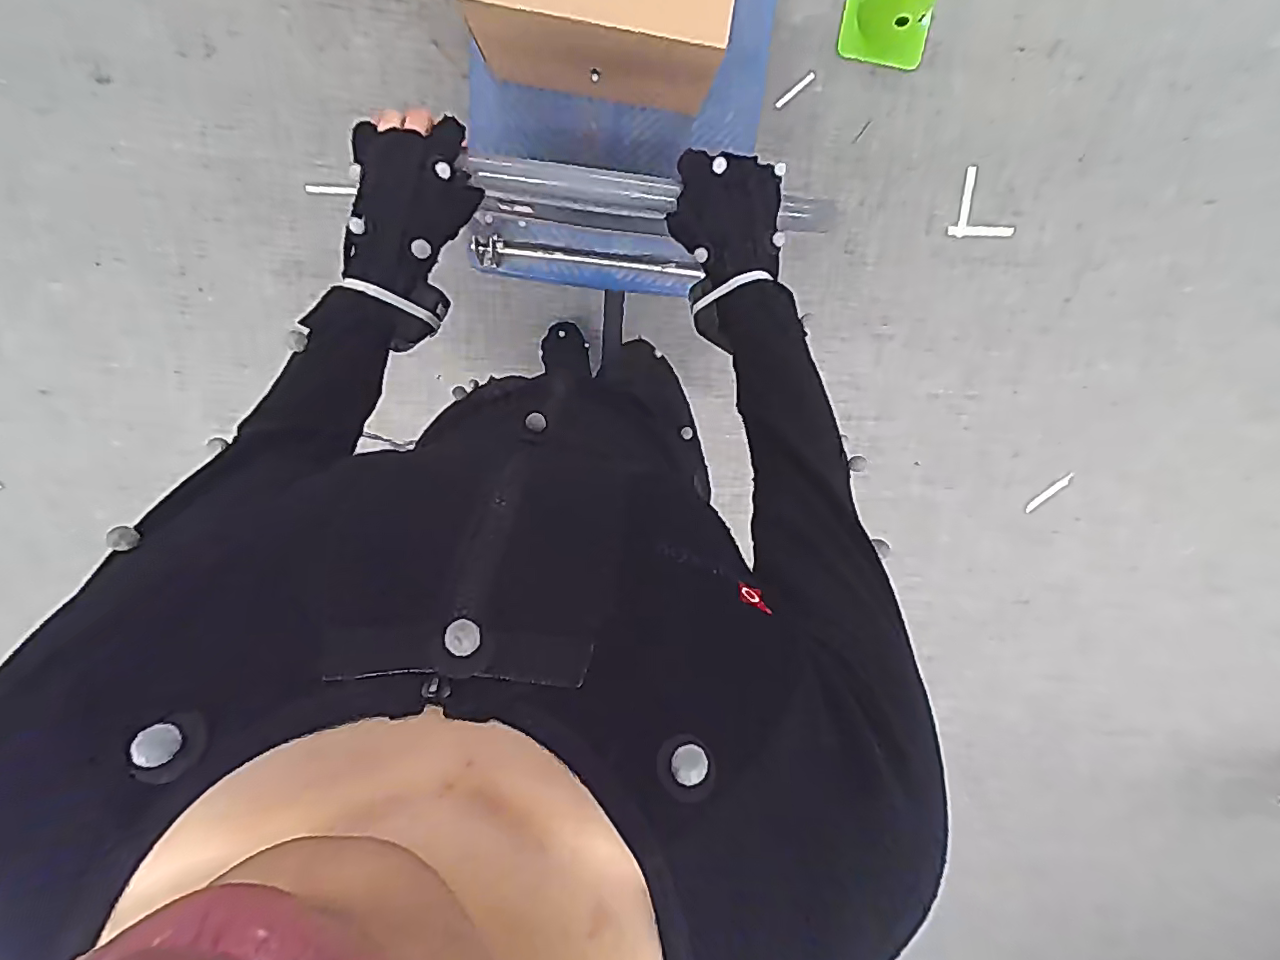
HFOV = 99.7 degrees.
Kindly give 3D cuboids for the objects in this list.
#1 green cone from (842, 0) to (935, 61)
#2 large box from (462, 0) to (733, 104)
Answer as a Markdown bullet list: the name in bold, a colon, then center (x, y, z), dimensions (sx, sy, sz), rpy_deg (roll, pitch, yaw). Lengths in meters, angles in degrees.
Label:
- **green cone**: center (0.573, -1.008, 1.037), dimensions (0.202, 0.368, 0.200), rpy_deg (6, 107, -7)
- **large box**: center (-0.053, -0.867, 0.886), dimensions (0.408, 0.320, 0.320), rpy_deg (7, 107, -5)
